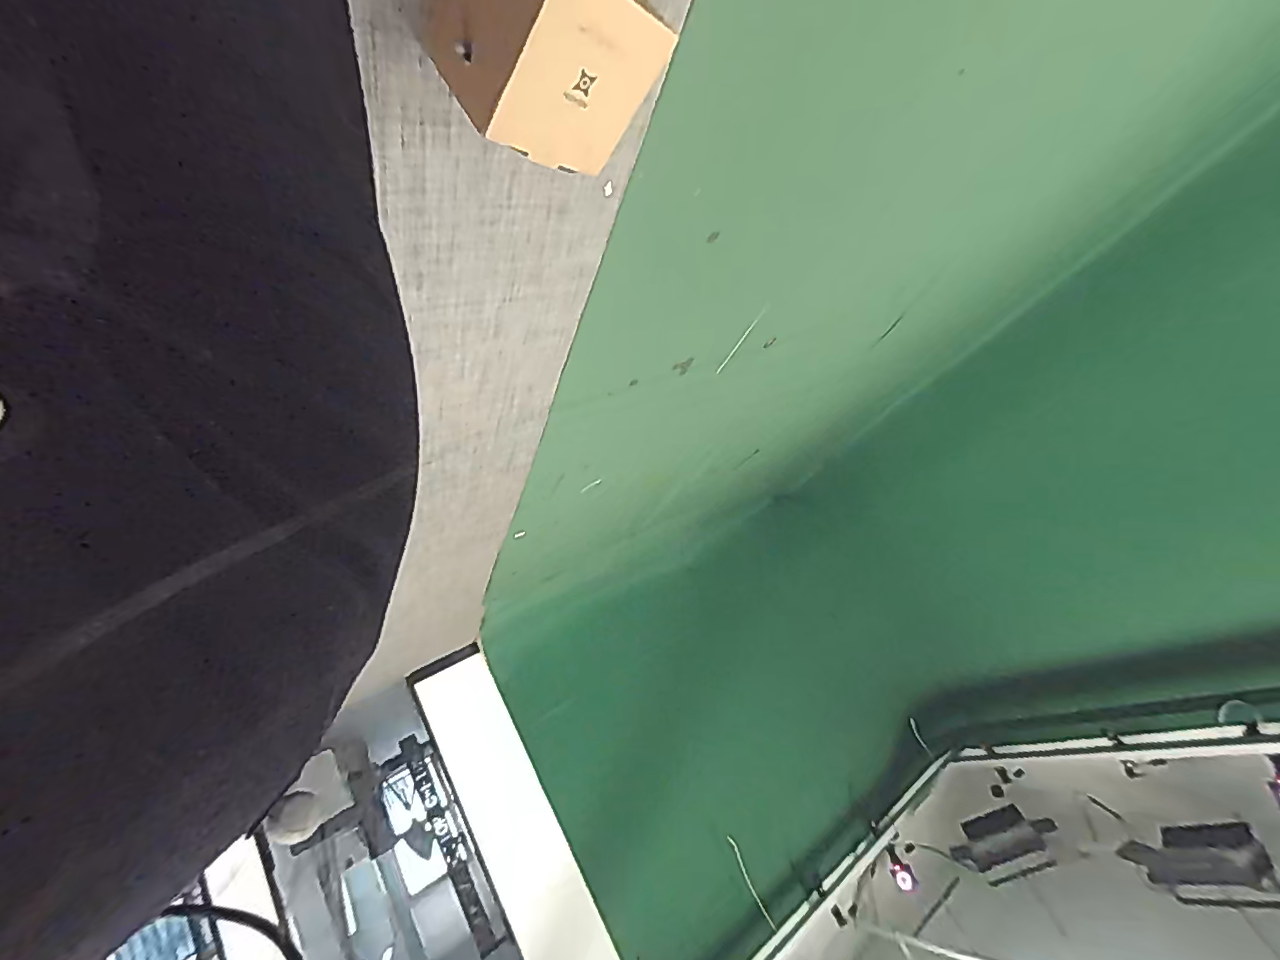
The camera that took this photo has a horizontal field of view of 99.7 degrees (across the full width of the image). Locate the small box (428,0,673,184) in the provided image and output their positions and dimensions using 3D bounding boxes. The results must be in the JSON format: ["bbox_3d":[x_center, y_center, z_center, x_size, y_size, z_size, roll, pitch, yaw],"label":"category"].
[{"bbox_3d":[-0.105,-0.471,0.585,0.168,0.176,0.179,-14,156,-48],"label":"small box"}]
